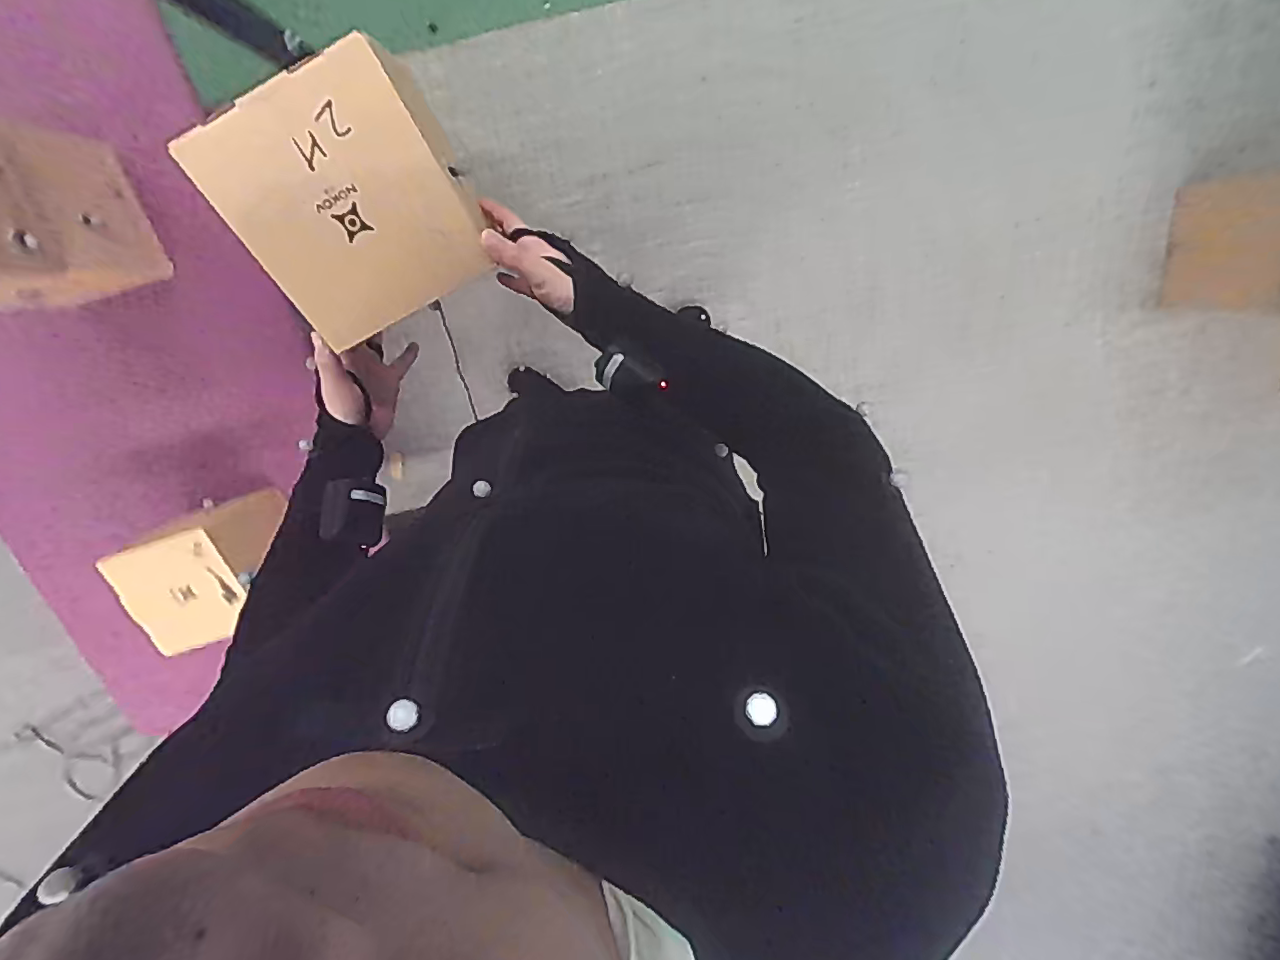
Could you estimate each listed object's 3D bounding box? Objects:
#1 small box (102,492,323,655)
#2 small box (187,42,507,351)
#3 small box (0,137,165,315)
[{"bbox_3d":[-0.654,0.139,0.853,0.179,0.176,0.168,-18,109,6],"label":"small box"},{"bbox_3d":[-0.234,-0.250,0.496,0.168,0.176,0.179,-25,121,4],"label":"small box"},{"bbox_3d":[-0.769,-0.316,0.689,0.179,0.176,0.168,-14,110,6],"label":"small box"}]
